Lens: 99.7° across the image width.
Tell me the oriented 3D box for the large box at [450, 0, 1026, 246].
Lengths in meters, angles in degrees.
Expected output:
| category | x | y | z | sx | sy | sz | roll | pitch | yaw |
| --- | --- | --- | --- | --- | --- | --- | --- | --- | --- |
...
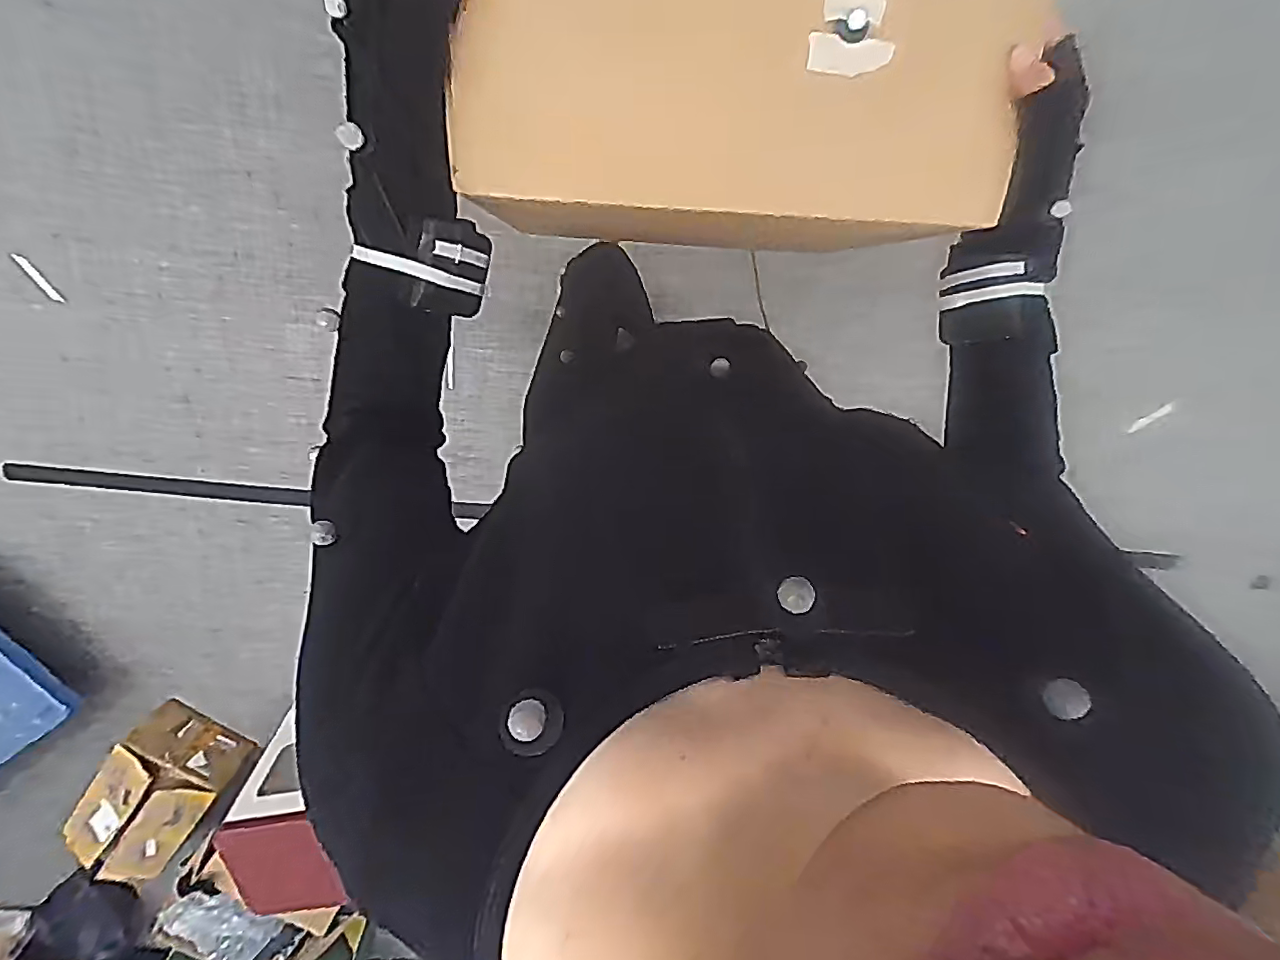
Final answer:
| category | x | y | z | sx | sy | sz | roll | pitch | yaw |
| --- | --- | --- | --- | --- | --- | --- | --- | --- | --- |
| large box | 0.060 | -0.402 | 0.497 | 0.408 | 0.320 | 0.320 | 1 | 109 | -5 |
